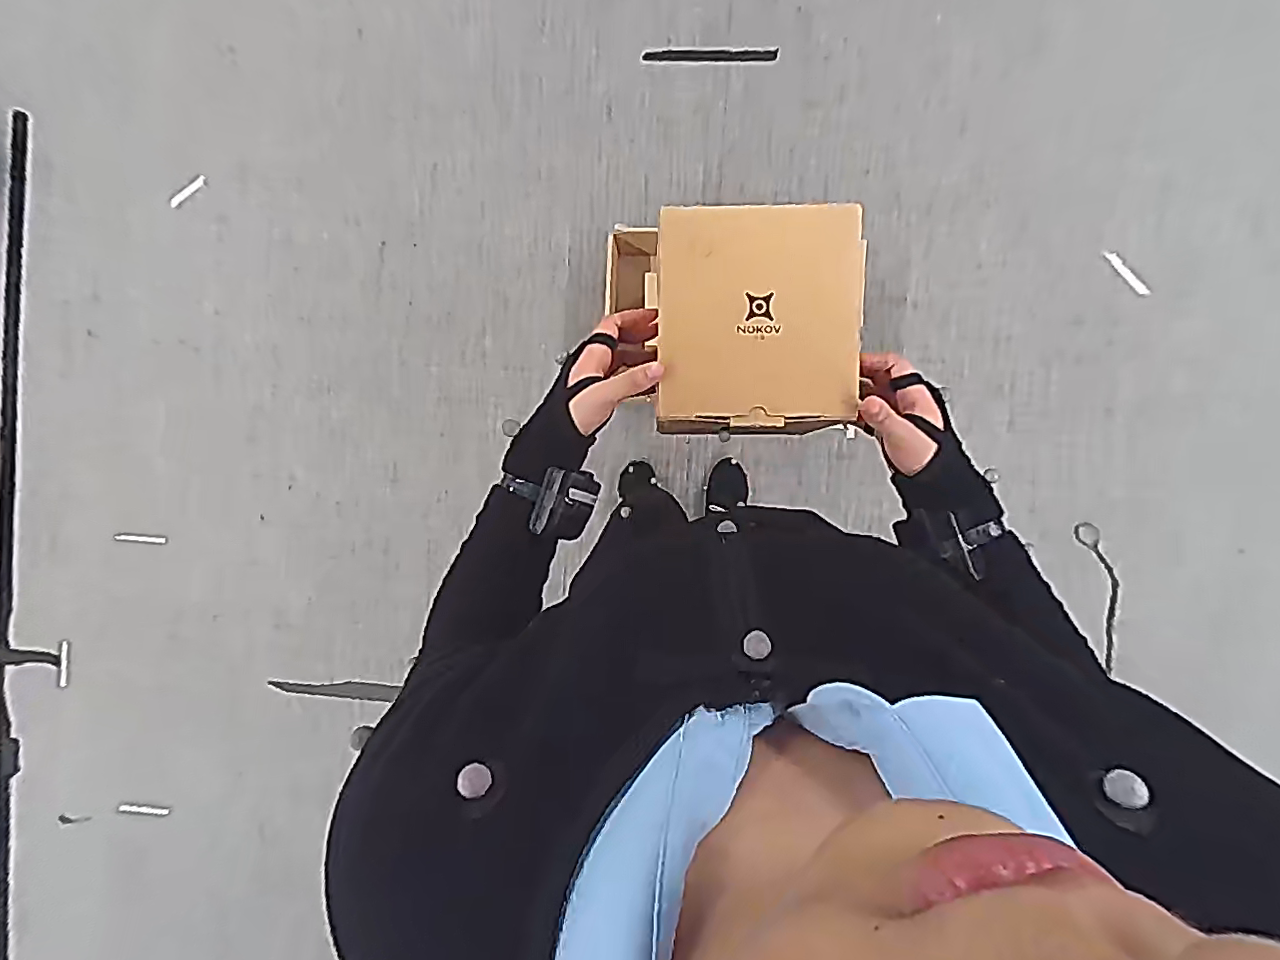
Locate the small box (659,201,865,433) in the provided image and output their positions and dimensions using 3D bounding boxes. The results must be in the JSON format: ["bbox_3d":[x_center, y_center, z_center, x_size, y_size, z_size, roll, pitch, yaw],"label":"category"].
[{"bbox_3d":[0.102,-0.140,0.518,0.168,0.176,0.179,0,91,3],"label":"small box"}]

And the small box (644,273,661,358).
[{"bbox_3d":[0.097,-0.405,1.360,0.168,0.176,0.179,1,91,2],"label":"small box"}]
